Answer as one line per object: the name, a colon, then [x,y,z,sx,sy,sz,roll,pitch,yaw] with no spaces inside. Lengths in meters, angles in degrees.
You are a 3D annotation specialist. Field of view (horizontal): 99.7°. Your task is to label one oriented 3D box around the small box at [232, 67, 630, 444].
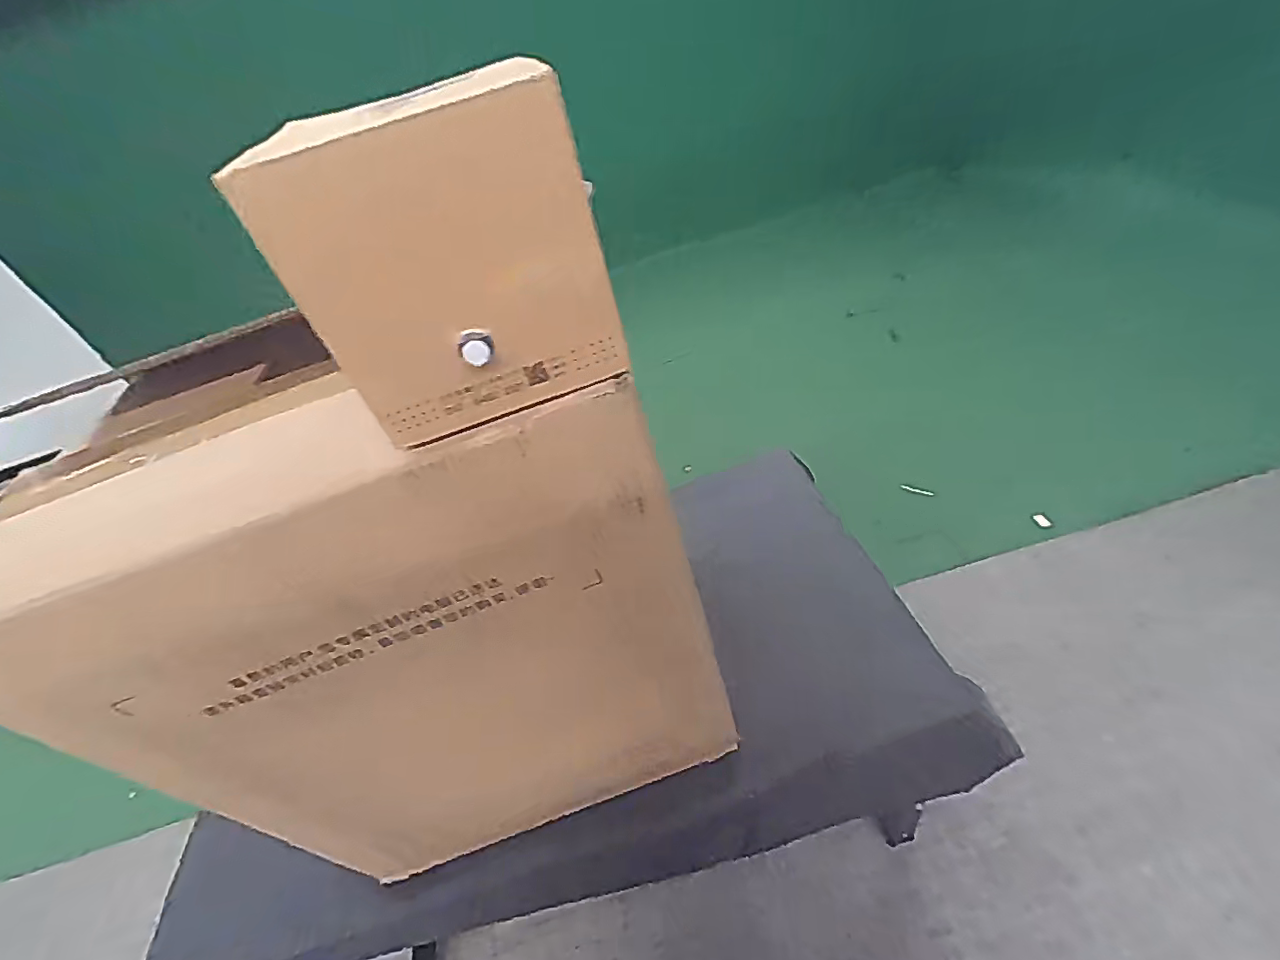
small box: [-0.117,-0.154,0.369,0.168,0.176,0.179,-19,43,-3]
